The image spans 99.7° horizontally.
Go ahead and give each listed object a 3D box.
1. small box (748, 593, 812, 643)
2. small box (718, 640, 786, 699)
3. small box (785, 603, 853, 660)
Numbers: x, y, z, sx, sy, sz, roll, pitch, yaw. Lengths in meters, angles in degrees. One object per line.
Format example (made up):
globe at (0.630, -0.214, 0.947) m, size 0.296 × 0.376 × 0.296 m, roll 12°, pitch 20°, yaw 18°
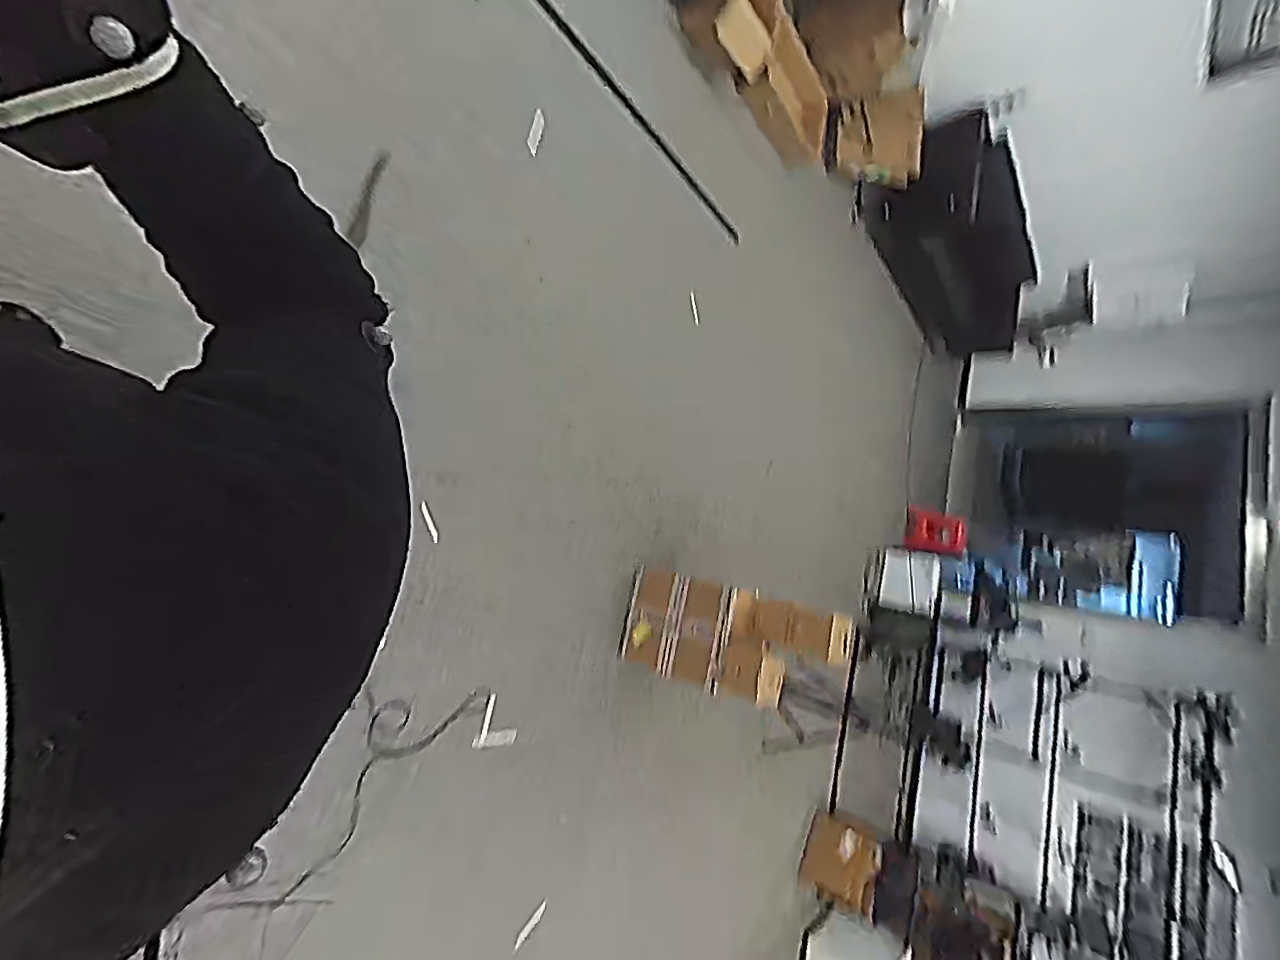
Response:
small box at (0.549, 0.540, 2.119) m, size 0.179 × 0.176 × 0.168 m, roll 18°, pitch 78°, yaw -45°
small box at (0.408, 0.692, 1.979) m, size 0.179 × 0.176 × 0.168 m, roll 23°, pitch 77°, yaw -44°
small box at (0.663, 0.559, 2.001) m, size 0.179 × 0.176 × 0.168 m, roll 23°, pitch 75°, yaw -44°
